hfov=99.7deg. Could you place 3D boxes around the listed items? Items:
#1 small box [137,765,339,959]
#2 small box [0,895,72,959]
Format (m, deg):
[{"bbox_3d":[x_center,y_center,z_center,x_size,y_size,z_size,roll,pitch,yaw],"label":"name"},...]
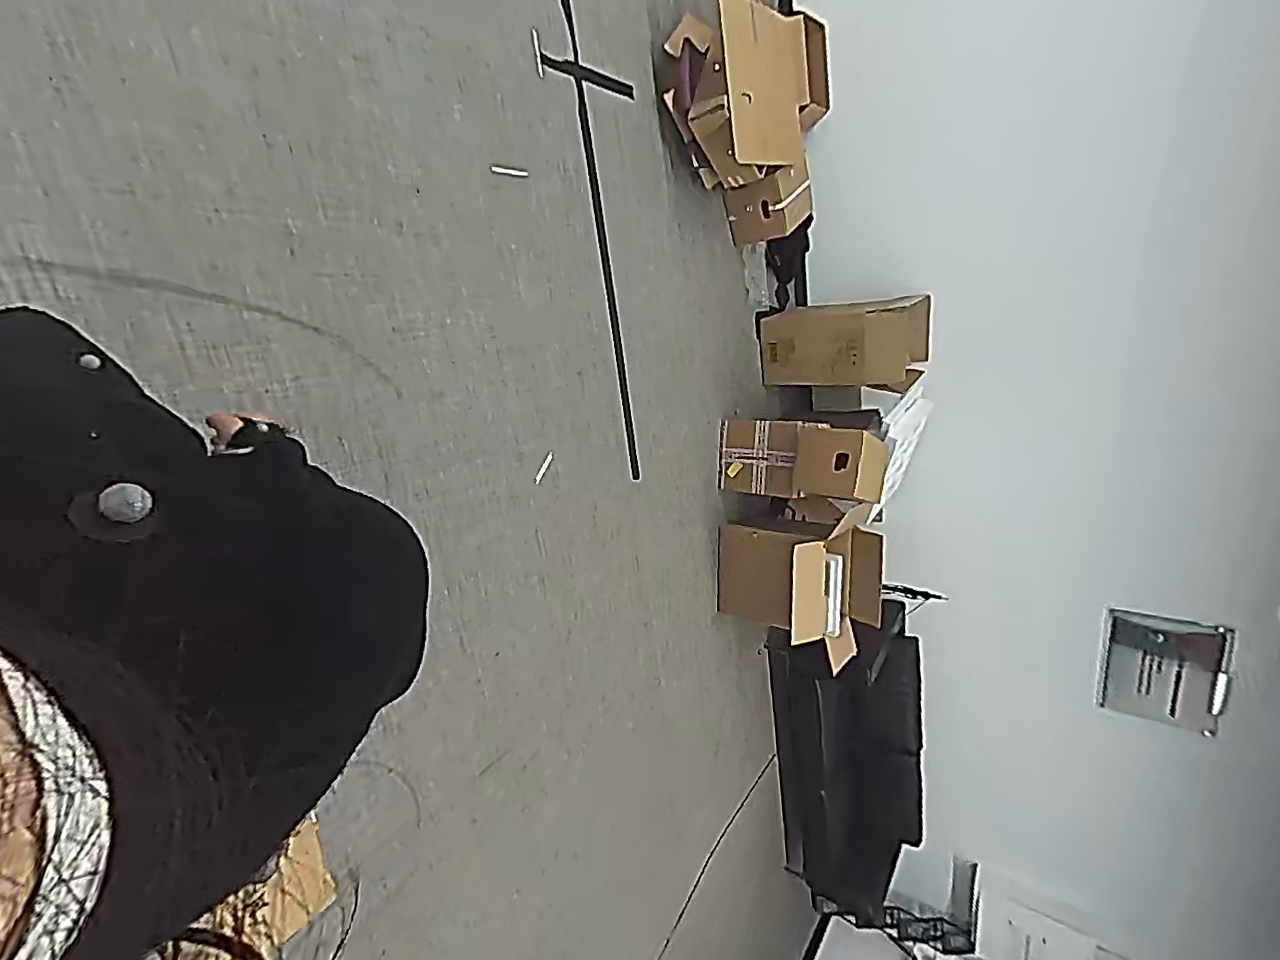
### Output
[{"bbox_3d":[-0.556,0.532,0.751,0.168,0.176,0.179,-22,112,-48],"label":"small box"},{"bbox_3d":[-0.710,0.597,0.565,0.168,0.176,0.179,-25,112,-49],"label":"small box"}]
